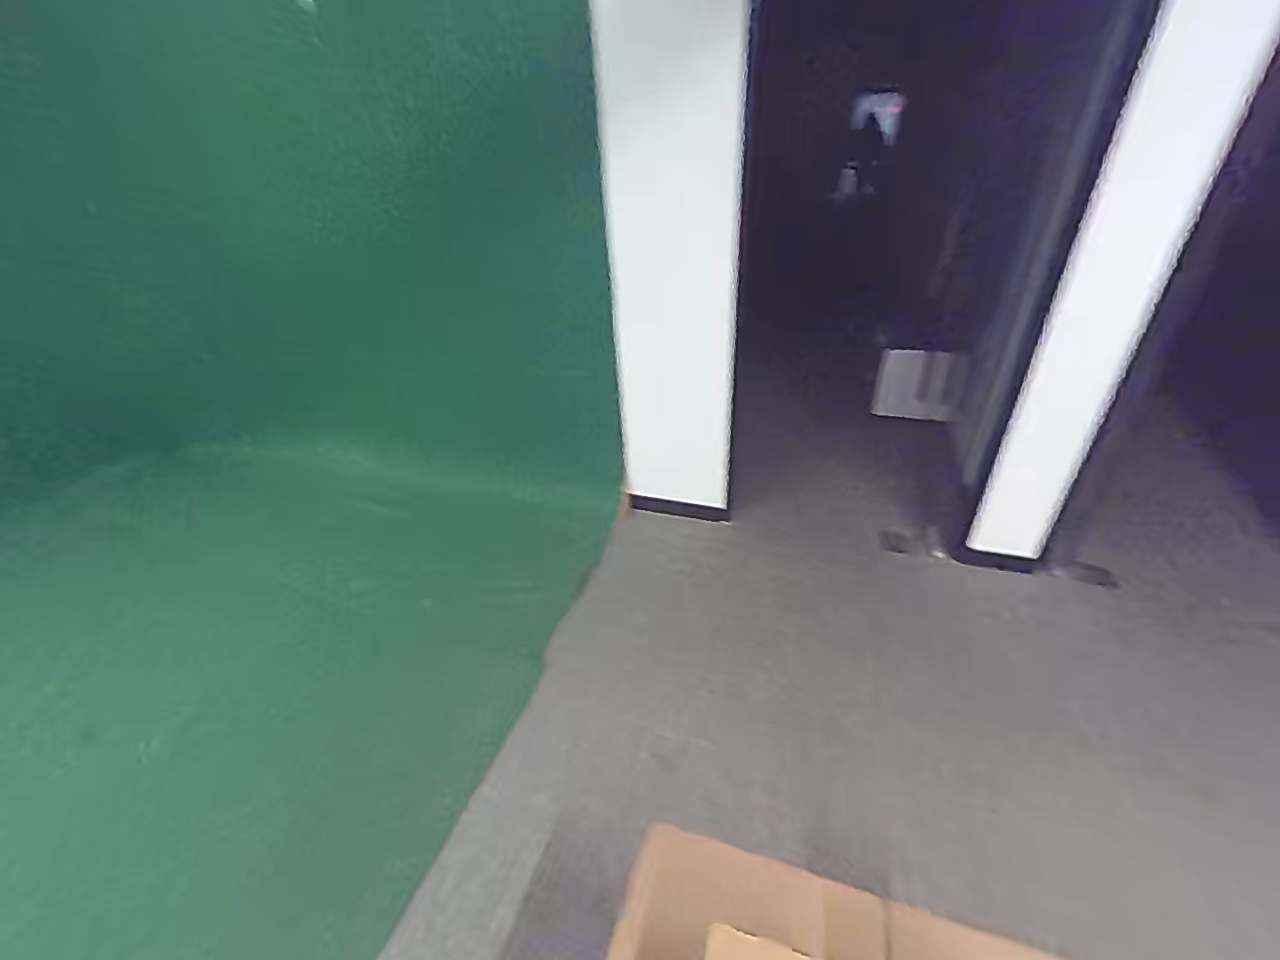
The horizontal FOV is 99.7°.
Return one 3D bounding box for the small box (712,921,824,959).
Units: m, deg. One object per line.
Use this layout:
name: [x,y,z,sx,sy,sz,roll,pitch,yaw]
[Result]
small box: [0.157,0.712,0.672,0.168,0.176,0.179,7,33,17]
